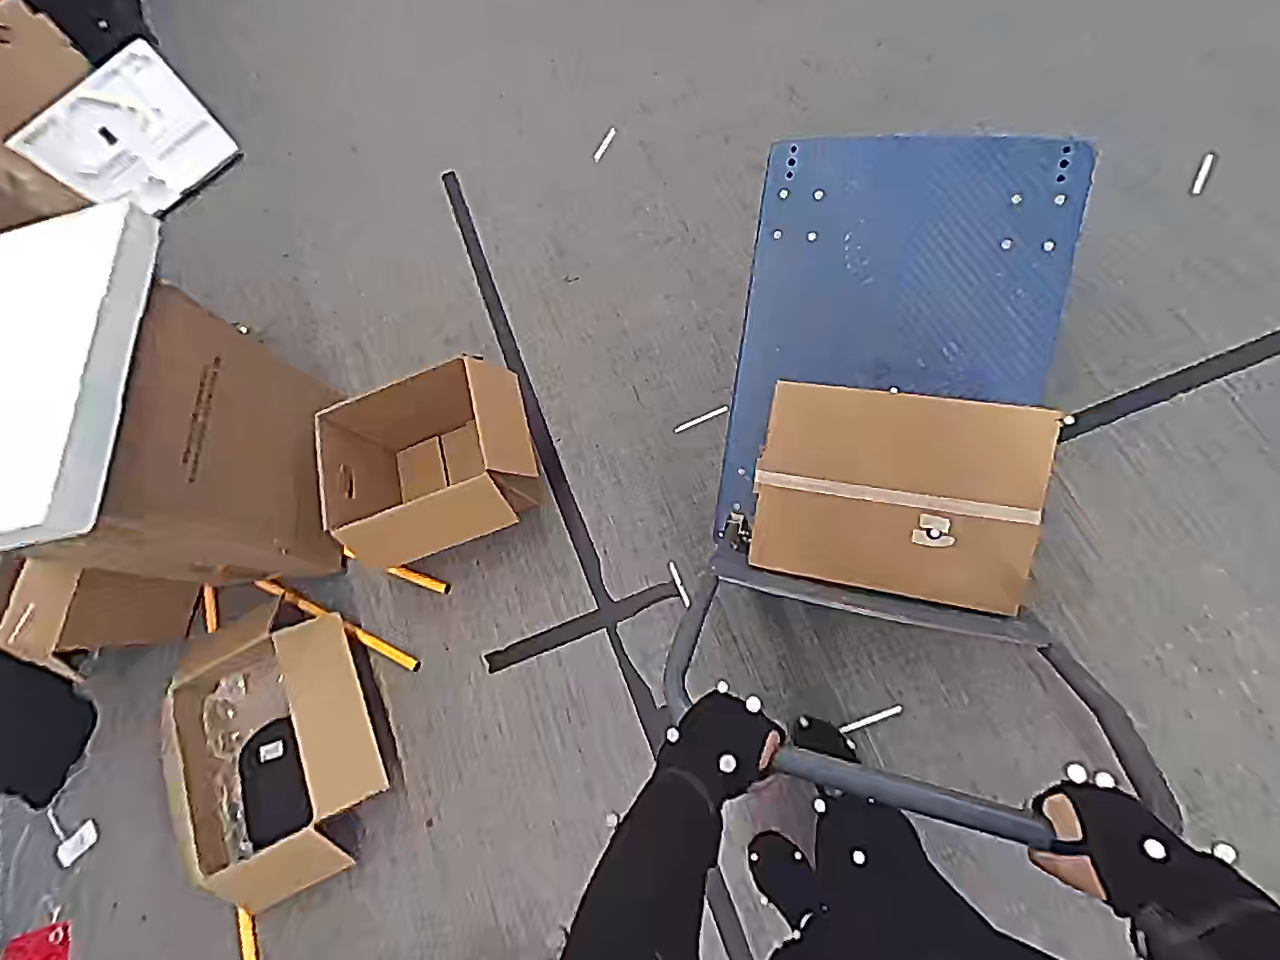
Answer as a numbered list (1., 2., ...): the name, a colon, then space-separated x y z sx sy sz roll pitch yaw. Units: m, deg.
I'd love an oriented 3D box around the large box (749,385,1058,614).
1. large box: 0.423 0.010 0.973 0.408 0.320 0.320 9 100 14
